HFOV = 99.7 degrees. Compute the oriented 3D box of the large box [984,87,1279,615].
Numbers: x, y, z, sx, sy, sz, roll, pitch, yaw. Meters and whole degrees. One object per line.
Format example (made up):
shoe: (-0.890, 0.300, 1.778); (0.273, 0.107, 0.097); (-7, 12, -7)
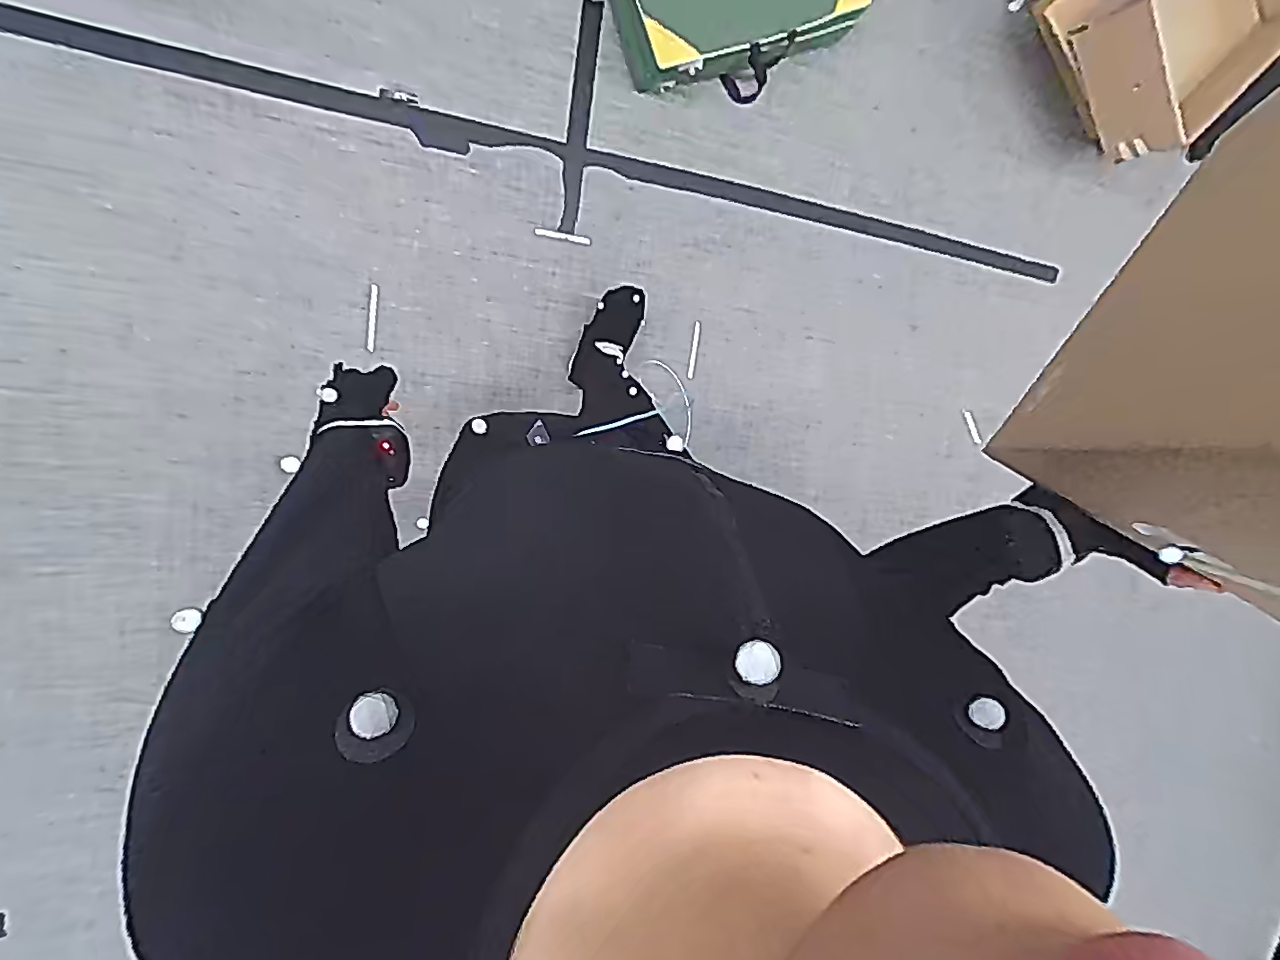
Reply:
large box: (0.457, -0.071, 0.271); (0.320, 0.408, 0.320); (37, 105, 16)
